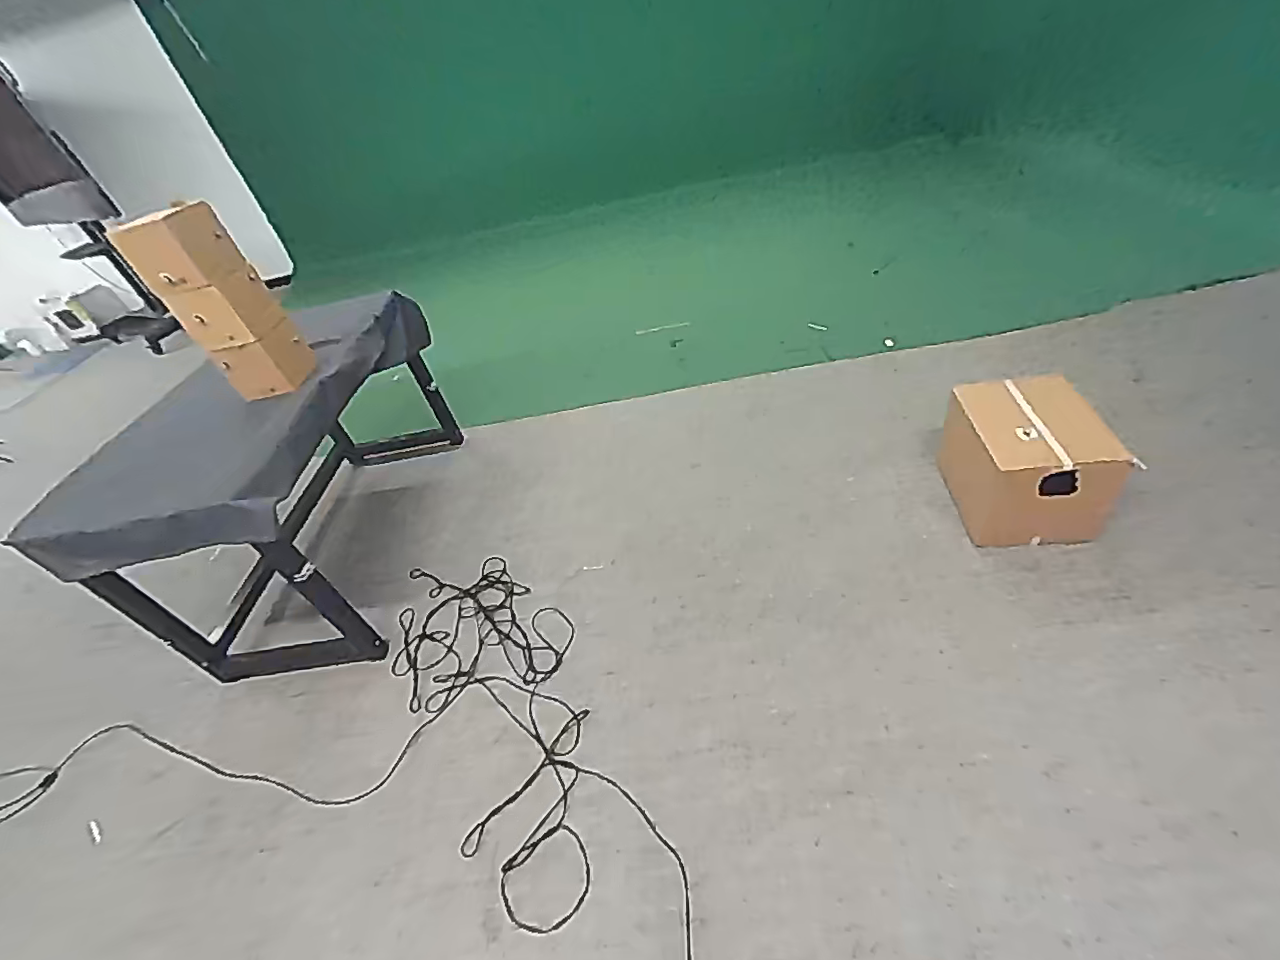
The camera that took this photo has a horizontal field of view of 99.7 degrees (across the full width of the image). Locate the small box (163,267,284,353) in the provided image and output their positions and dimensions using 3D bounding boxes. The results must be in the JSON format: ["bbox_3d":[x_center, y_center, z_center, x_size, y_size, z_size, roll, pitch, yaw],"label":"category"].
[{"bbox_3d":[-1.149,-0.468,1.512,0.168,0.176,0.179,-10,40,7],"label":"small box"}]

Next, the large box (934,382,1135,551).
[{"bbox_3d":[1.131,-0.043,1.620,0.320,0.320,0.408,-5,42,11],"label":"large box"}]

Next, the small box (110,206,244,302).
[{"bbox_3d":[-1.186,-0.587,1.408,0.168,0.176,0.179,-10,40,8],"label":"small box"}]
